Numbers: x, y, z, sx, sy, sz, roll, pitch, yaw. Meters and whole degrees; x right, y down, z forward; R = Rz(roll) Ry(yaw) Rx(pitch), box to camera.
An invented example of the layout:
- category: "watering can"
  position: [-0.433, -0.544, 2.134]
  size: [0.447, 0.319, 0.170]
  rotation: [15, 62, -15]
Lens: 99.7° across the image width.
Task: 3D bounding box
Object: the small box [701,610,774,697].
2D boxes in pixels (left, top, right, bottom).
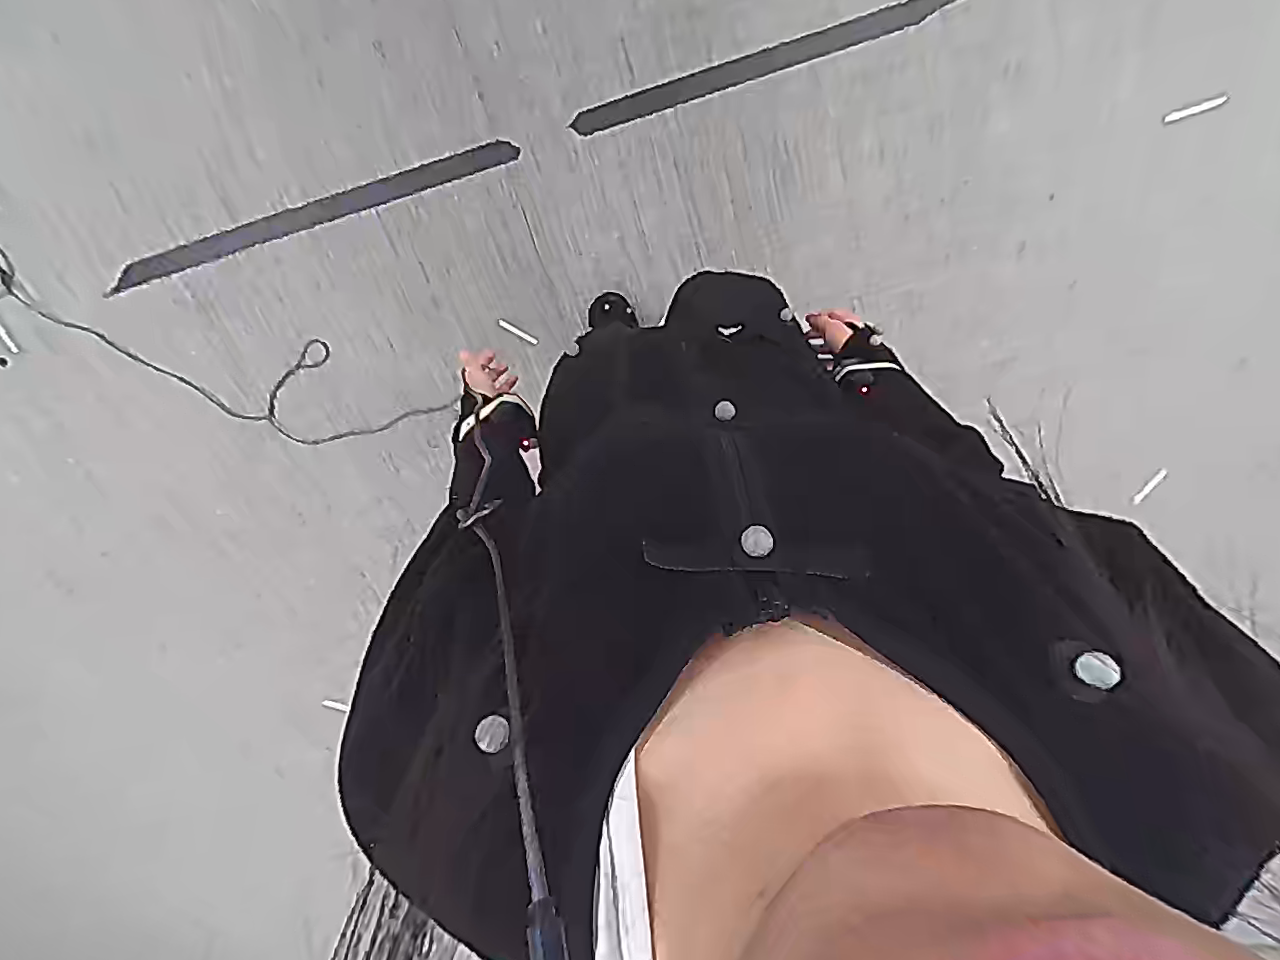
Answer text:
- category: "small box"
  position: [0.291, 0.518, 1.647]
  size: [0.168, 0.176, 0.179]
  rotation: [-16, 110, 2]
